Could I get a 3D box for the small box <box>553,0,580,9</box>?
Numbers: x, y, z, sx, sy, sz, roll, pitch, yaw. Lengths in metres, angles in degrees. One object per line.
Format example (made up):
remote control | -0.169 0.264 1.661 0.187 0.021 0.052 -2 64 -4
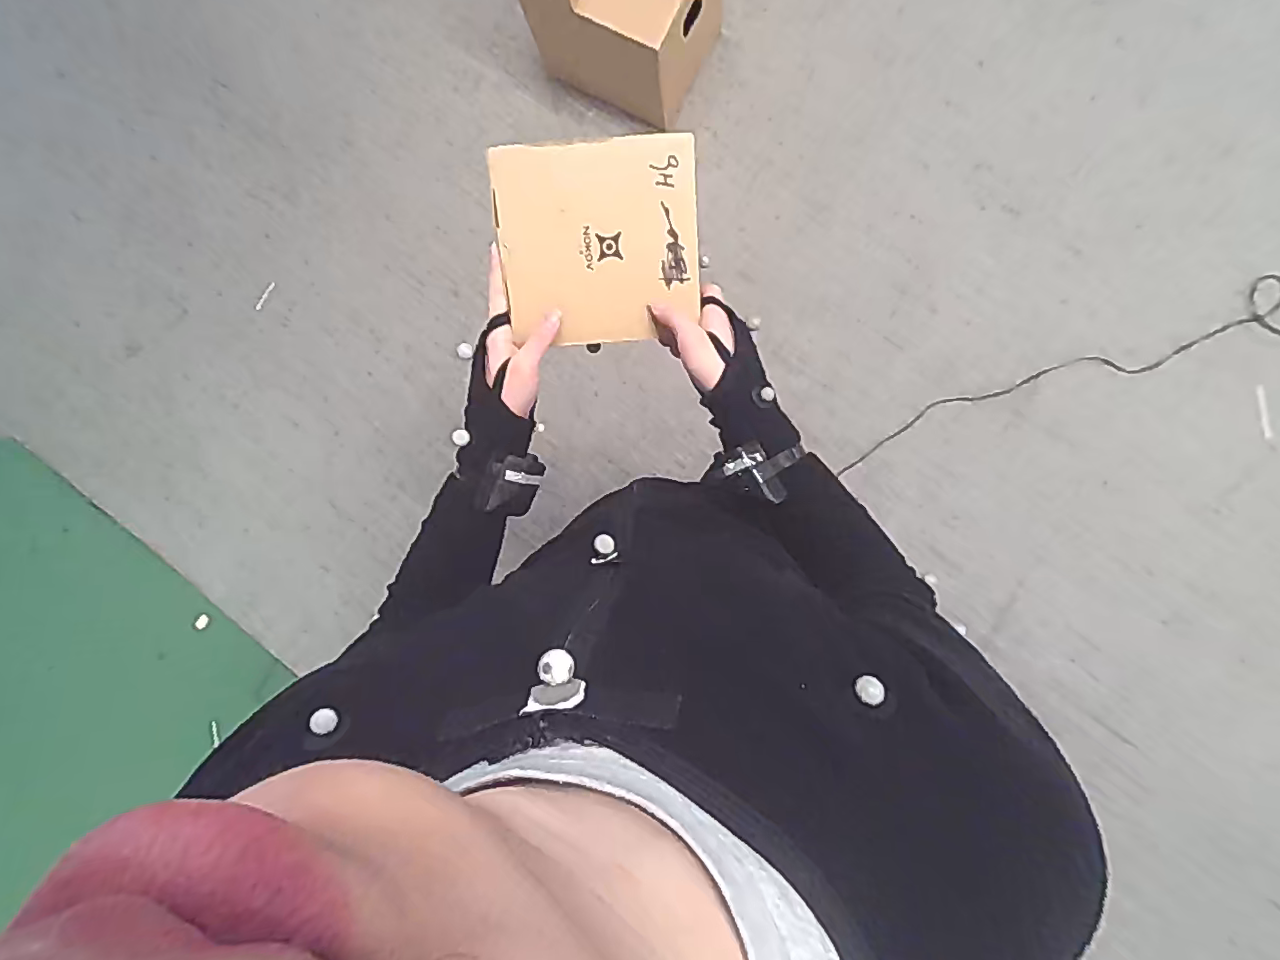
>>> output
small box | -0.187 -1.196 1.169 0.168 0.176 0.179 31 98 5
